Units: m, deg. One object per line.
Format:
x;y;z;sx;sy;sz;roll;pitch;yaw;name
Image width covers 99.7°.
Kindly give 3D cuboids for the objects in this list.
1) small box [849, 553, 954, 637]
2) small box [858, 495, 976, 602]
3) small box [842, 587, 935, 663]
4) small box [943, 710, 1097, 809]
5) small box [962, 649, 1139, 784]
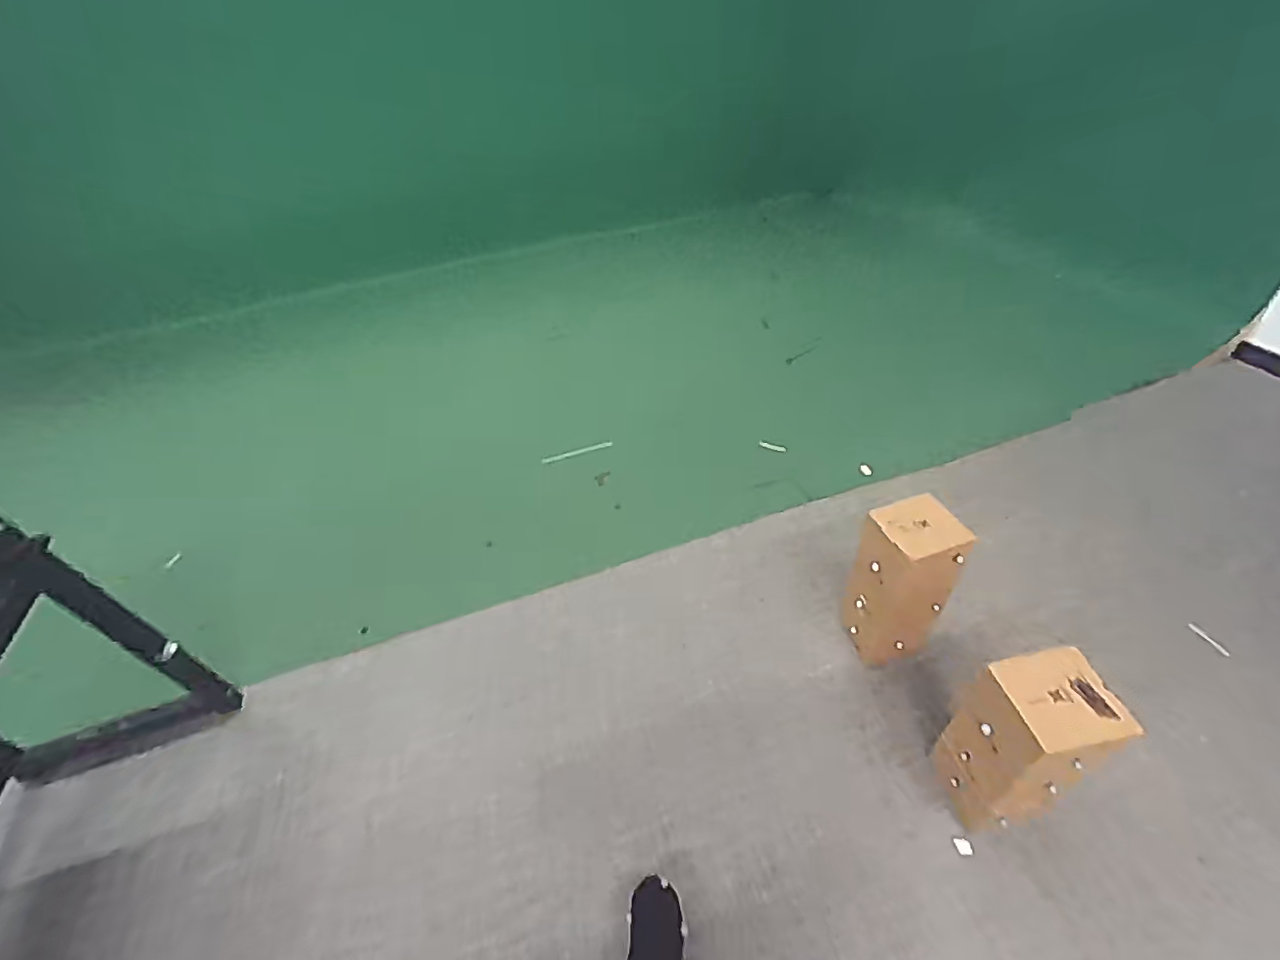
0.678;0.283;1.426;0.179;0.176;0.168;-17;43;-8;small box
0.659;0.167;1.310;0.179;0.176;0.168;-16;43;-8;small box
0.696;0.397;1.541;0.179;0.176;0.168;-14;44;-6;small box
0.774;0.559;1.127;0.179;0.176;0.168;-12;44;-3;small box
0.748;0.444;1.012;0.179;0.176;0.168;-11;44;-1;small box
